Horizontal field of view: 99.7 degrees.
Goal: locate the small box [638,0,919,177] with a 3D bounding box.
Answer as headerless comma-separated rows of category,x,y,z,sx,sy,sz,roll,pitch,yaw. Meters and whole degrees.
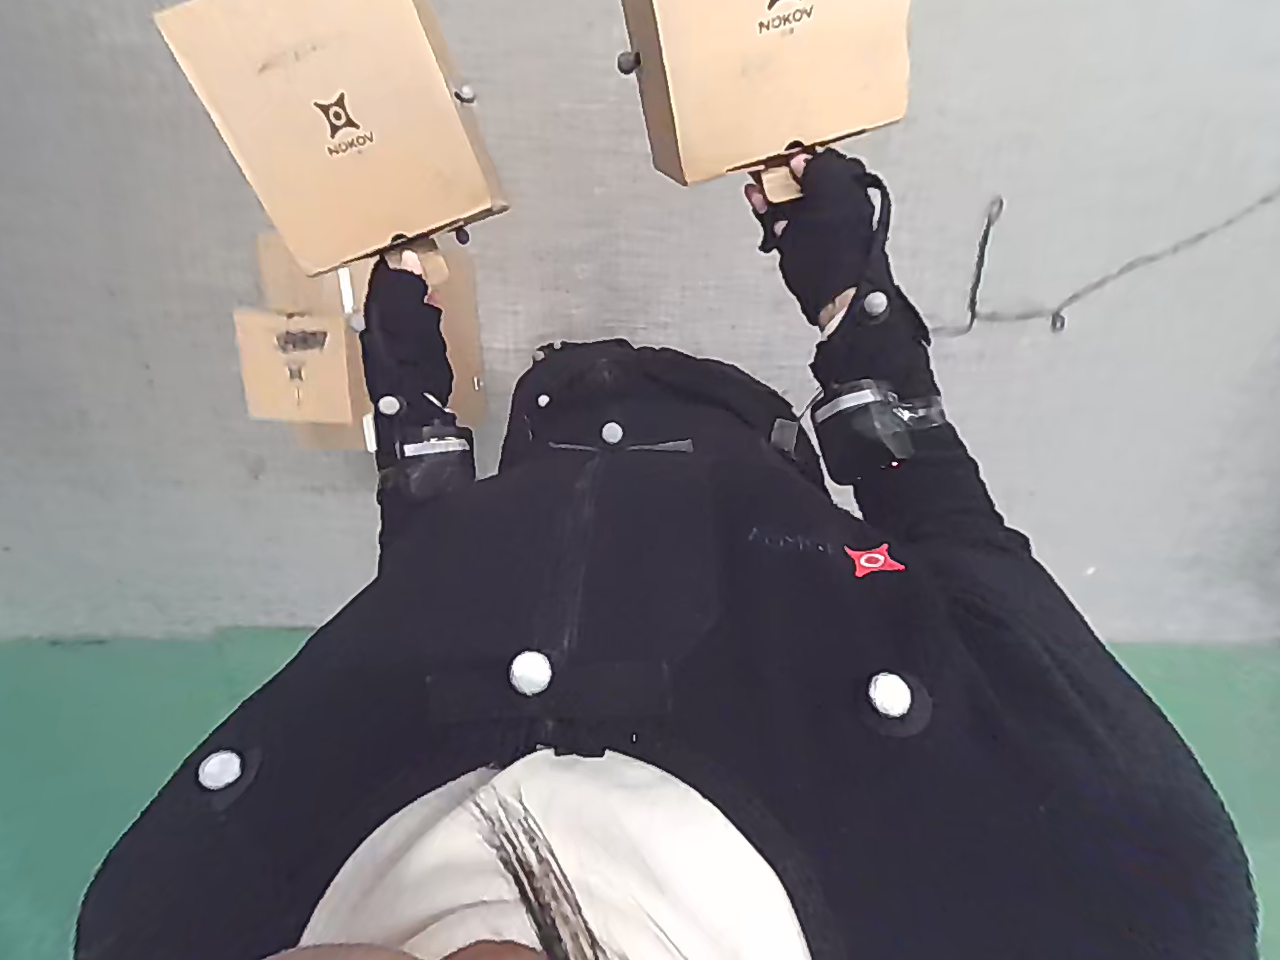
small box,0.092,-0.356,0.411,0.168,0.176,0.179,-13,126,2

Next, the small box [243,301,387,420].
small box,-0.562,-0.216,0.957,0.168,0.176,0.179,5,108,-7
